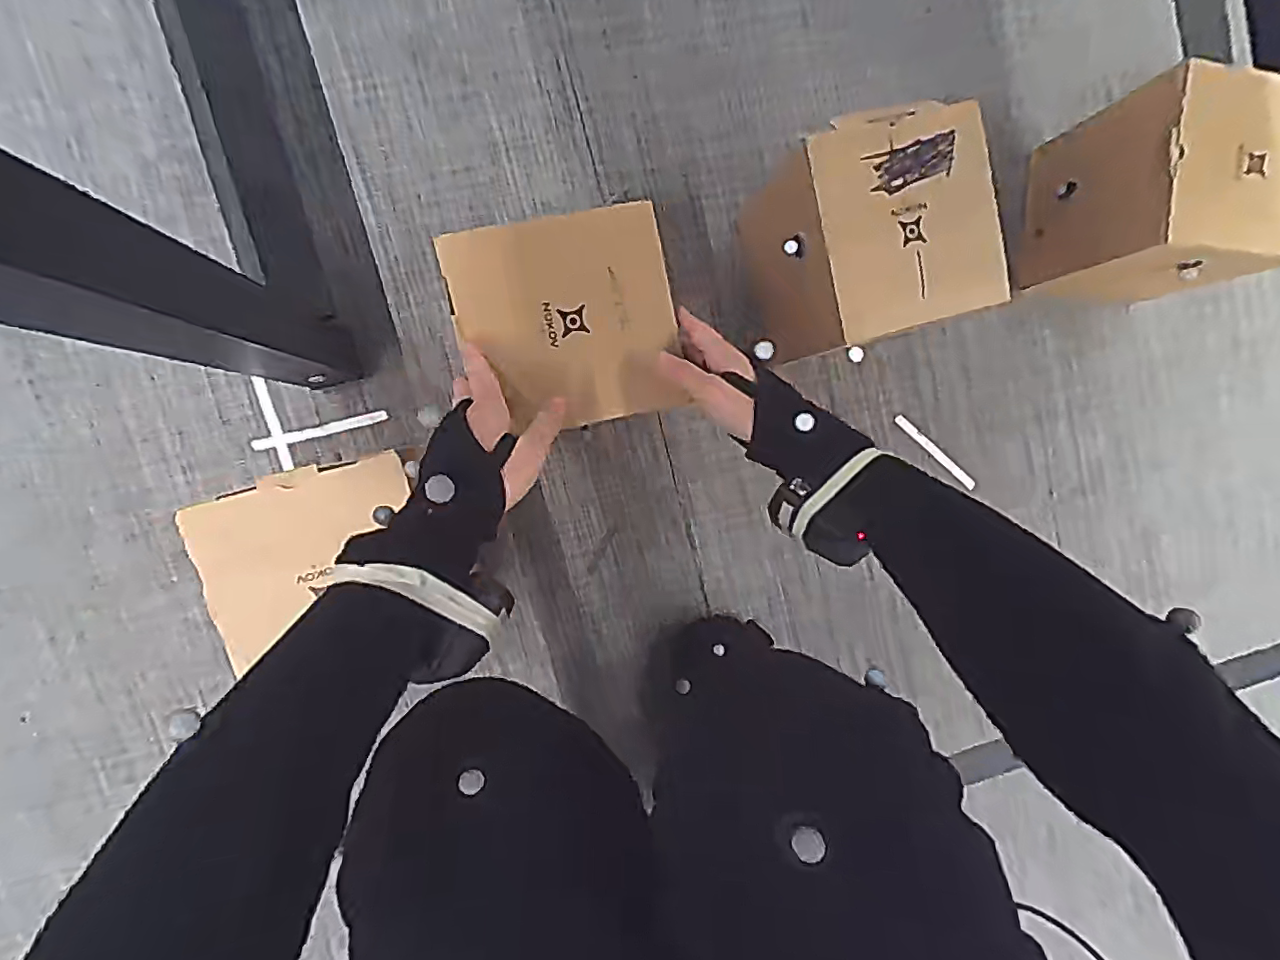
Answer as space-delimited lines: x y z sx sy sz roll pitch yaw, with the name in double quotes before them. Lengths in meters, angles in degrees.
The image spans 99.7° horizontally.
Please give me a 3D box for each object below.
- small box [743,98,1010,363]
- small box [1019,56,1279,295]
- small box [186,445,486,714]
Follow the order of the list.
"small box" 0.219 -0.230 0.541 0.168 0.176 0.179 -16 97 -6
"small box" 0.564 -0.307 0.587 0.179 0.176 0.168 2 94 -8
"small box" -0.251 0.073 0.496 0.168 0.176 0.179 -15 95 -8
